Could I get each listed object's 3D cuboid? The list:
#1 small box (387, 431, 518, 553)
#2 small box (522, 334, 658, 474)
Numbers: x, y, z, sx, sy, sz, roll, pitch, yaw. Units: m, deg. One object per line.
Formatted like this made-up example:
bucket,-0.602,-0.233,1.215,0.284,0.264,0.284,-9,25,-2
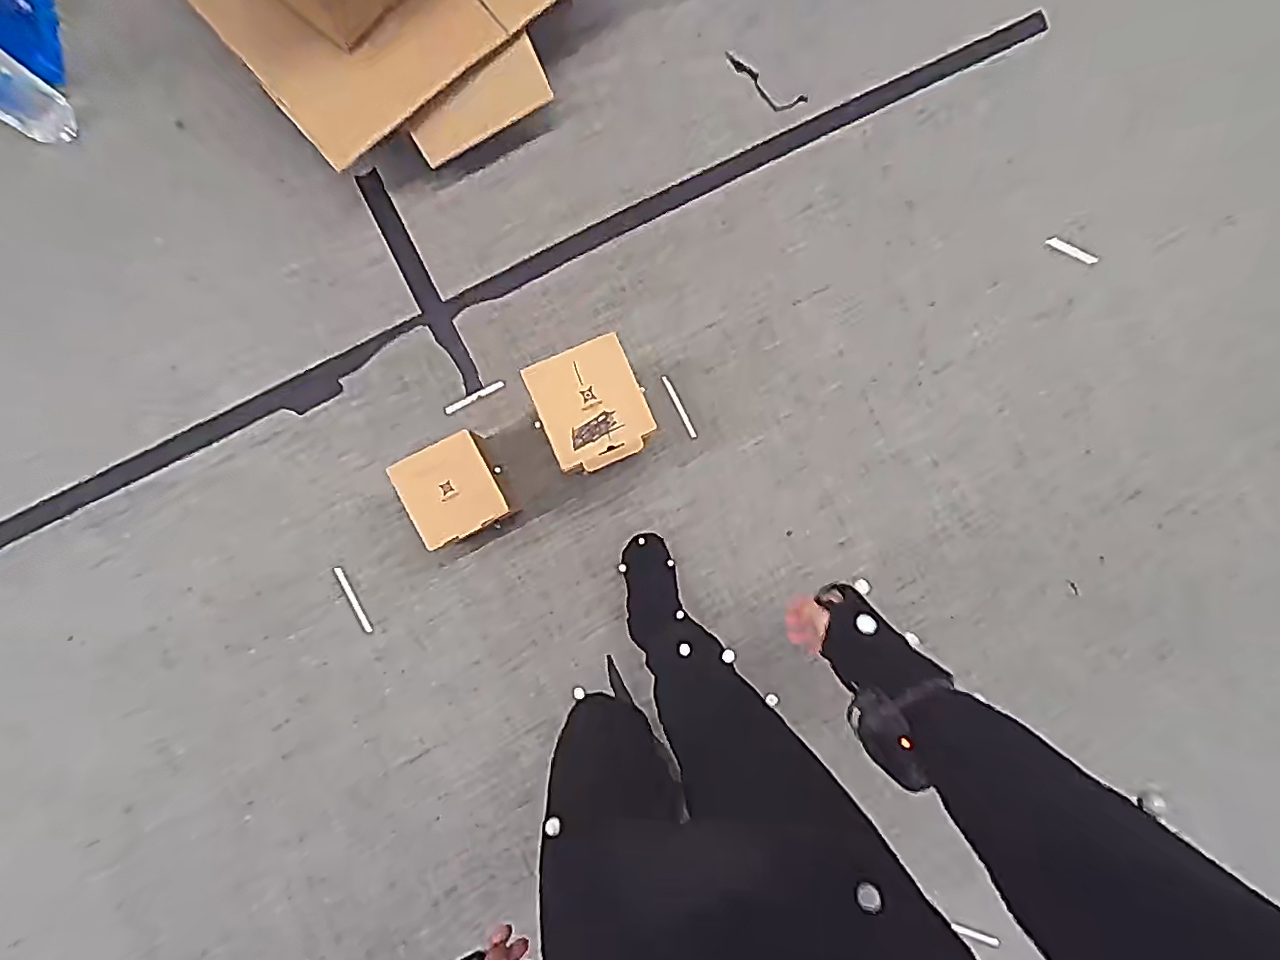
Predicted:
small box,-0.355,0.024,1.063,0.168,0.176,0.179,-28,90,-6
small box,-0.082,-0.119,0.924,0.168,0.176,0.179,-24,90,-5
